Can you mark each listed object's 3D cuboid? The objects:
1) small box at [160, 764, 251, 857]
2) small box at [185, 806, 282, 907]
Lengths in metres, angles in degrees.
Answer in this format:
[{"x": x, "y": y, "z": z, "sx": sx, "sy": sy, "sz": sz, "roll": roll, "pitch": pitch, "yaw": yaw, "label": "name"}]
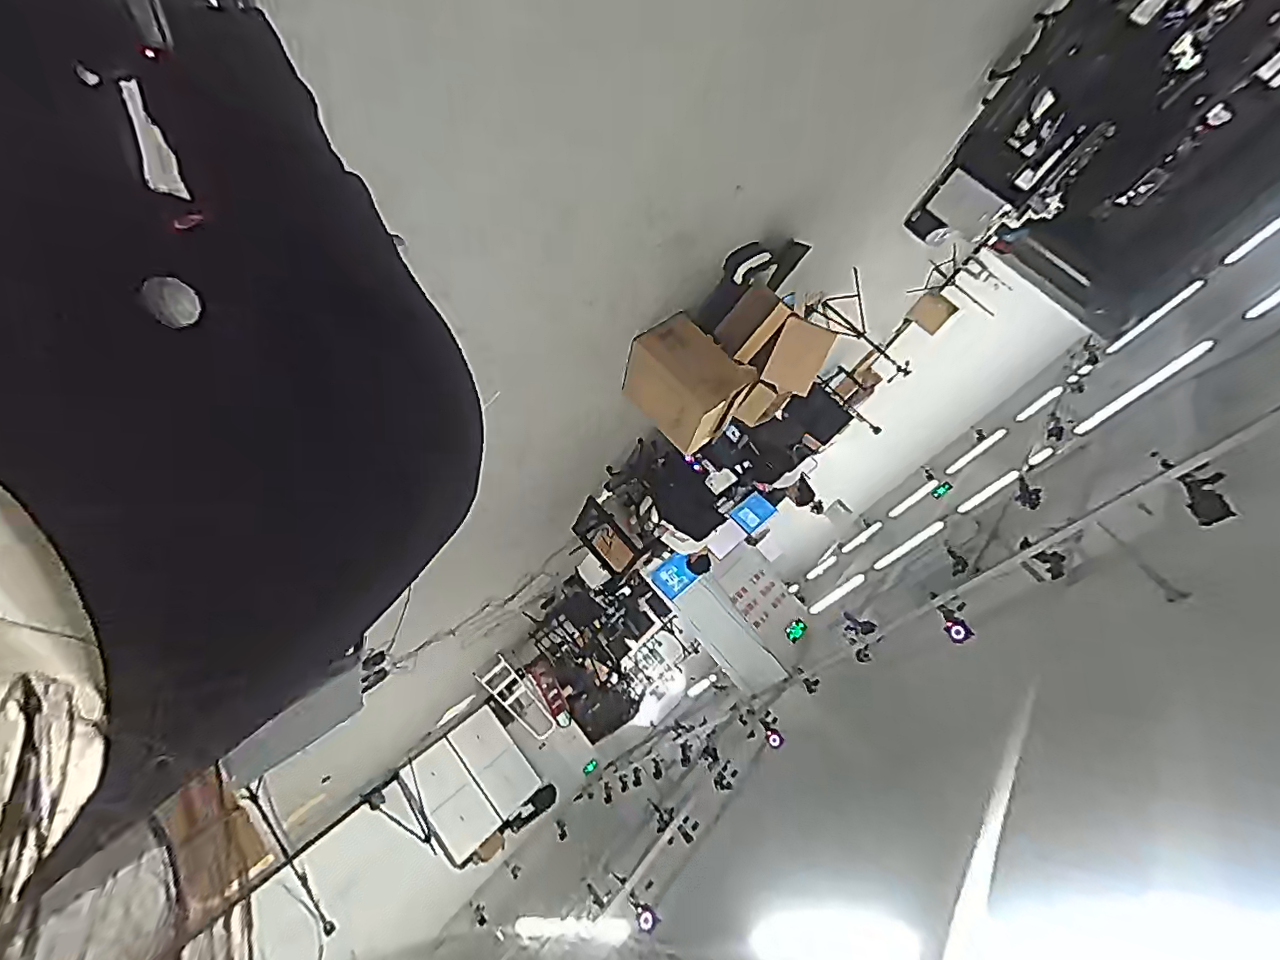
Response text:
[{"x": -1.316, "y": 1.008, "z": 1.647, "sx": 0.179, "sy": 0.176, "sz": 0.168, "roll": -32, "pitch": 163, "yaw": -41, "label": "small box"}, {"x": -1.201, "y": 1.110, "z": 1.596, "sx": 0.179, "sy": 0.176, "sz": 0.168, "roll": -32, "pitch": 161, "yaw": -40, "label": "small box"}]
